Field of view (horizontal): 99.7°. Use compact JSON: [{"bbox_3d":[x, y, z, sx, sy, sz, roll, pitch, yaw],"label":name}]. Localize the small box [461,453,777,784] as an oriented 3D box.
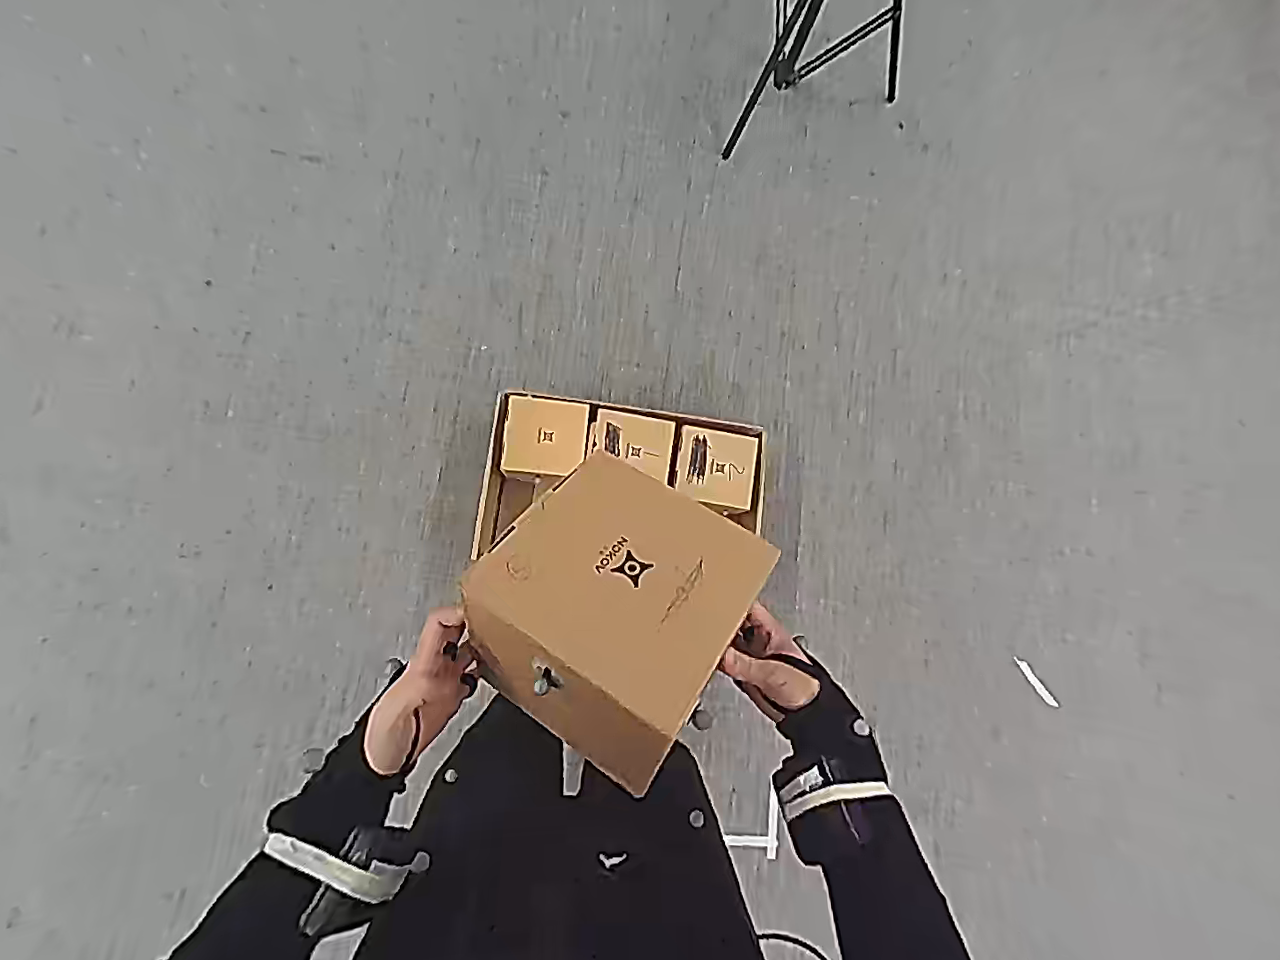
[{"bbox_3d":[-0.017,0.115,0.447,0.179,0.176,0.168,27,50,17],"label":"small box"}]
